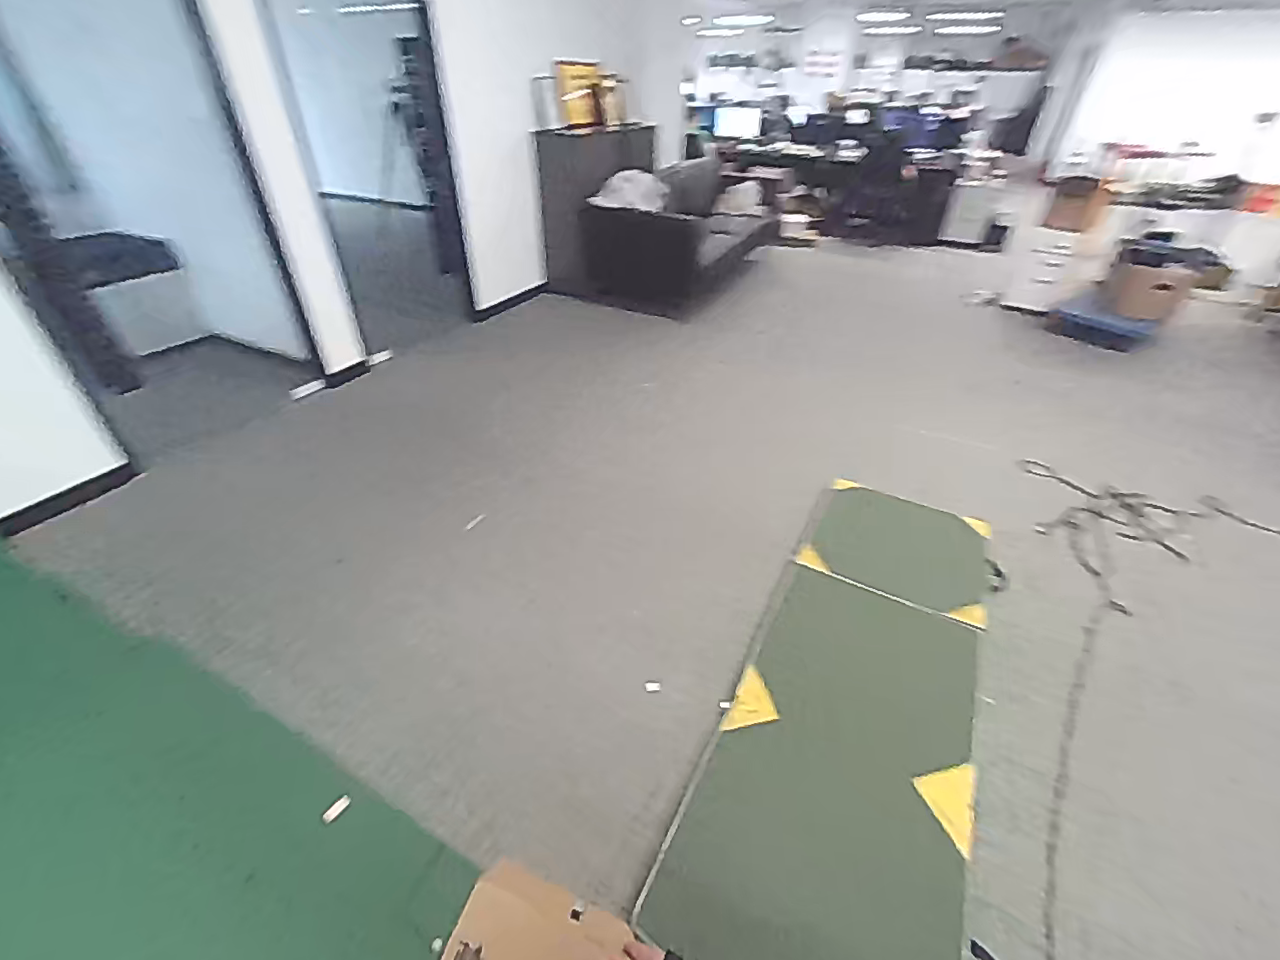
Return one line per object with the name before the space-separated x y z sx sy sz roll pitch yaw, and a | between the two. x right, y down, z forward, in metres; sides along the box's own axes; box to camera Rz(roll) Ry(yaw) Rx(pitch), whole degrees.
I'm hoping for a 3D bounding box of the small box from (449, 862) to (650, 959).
small box | -0.104 0.508 0.535 0.179 0.176 0.168 24 59 8
